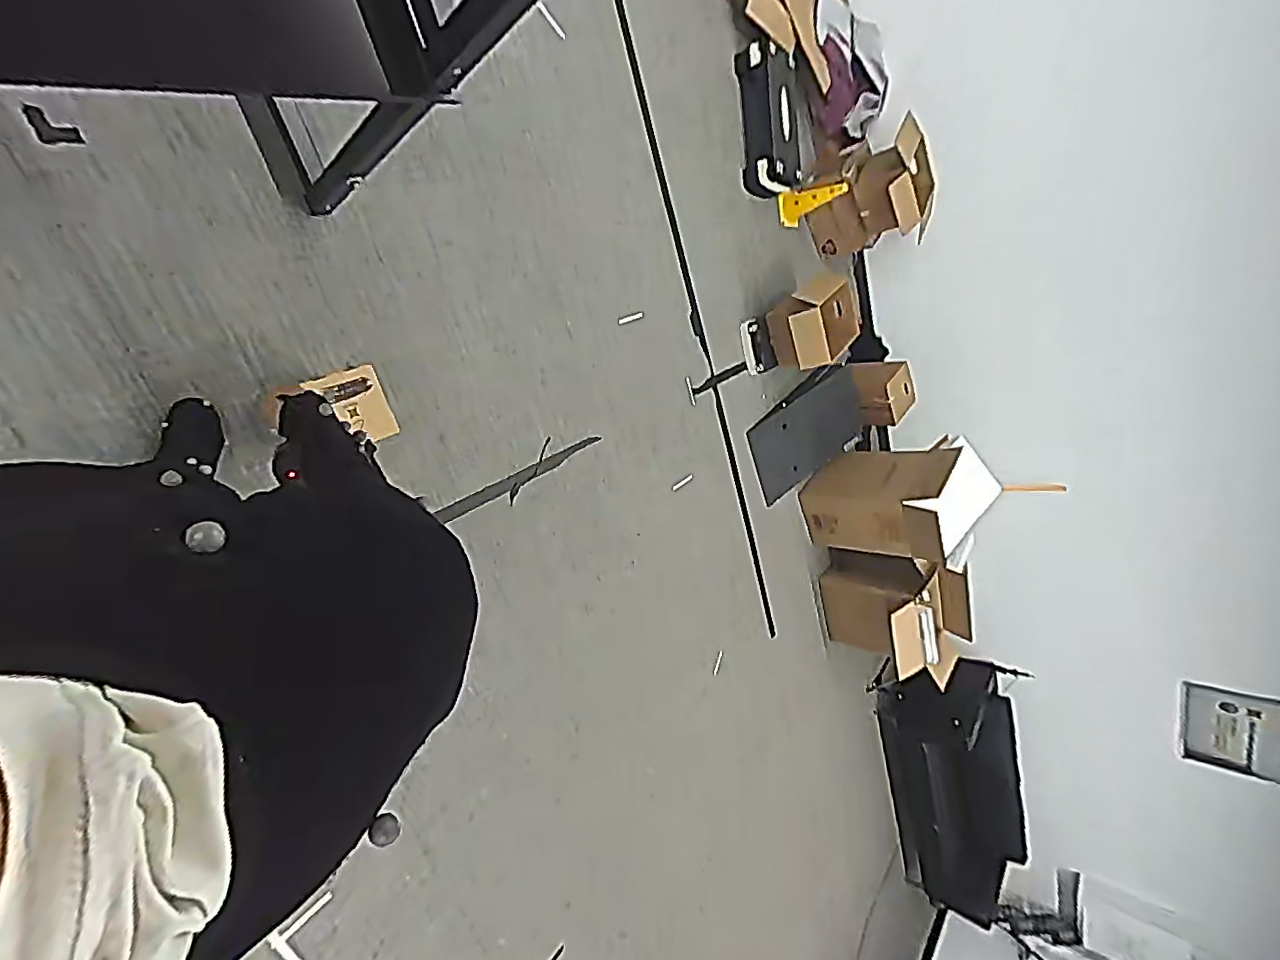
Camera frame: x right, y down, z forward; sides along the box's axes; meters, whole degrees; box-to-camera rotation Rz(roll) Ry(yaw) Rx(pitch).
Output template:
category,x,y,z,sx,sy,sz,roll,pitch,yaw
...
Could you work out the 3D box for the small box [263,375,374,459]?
category,x,y,z,sx,sy,sz,roll,pitch,yaw
small box,-0.838,-0.164,1.407,0.179,0.176,0.168,-34,115,-38
